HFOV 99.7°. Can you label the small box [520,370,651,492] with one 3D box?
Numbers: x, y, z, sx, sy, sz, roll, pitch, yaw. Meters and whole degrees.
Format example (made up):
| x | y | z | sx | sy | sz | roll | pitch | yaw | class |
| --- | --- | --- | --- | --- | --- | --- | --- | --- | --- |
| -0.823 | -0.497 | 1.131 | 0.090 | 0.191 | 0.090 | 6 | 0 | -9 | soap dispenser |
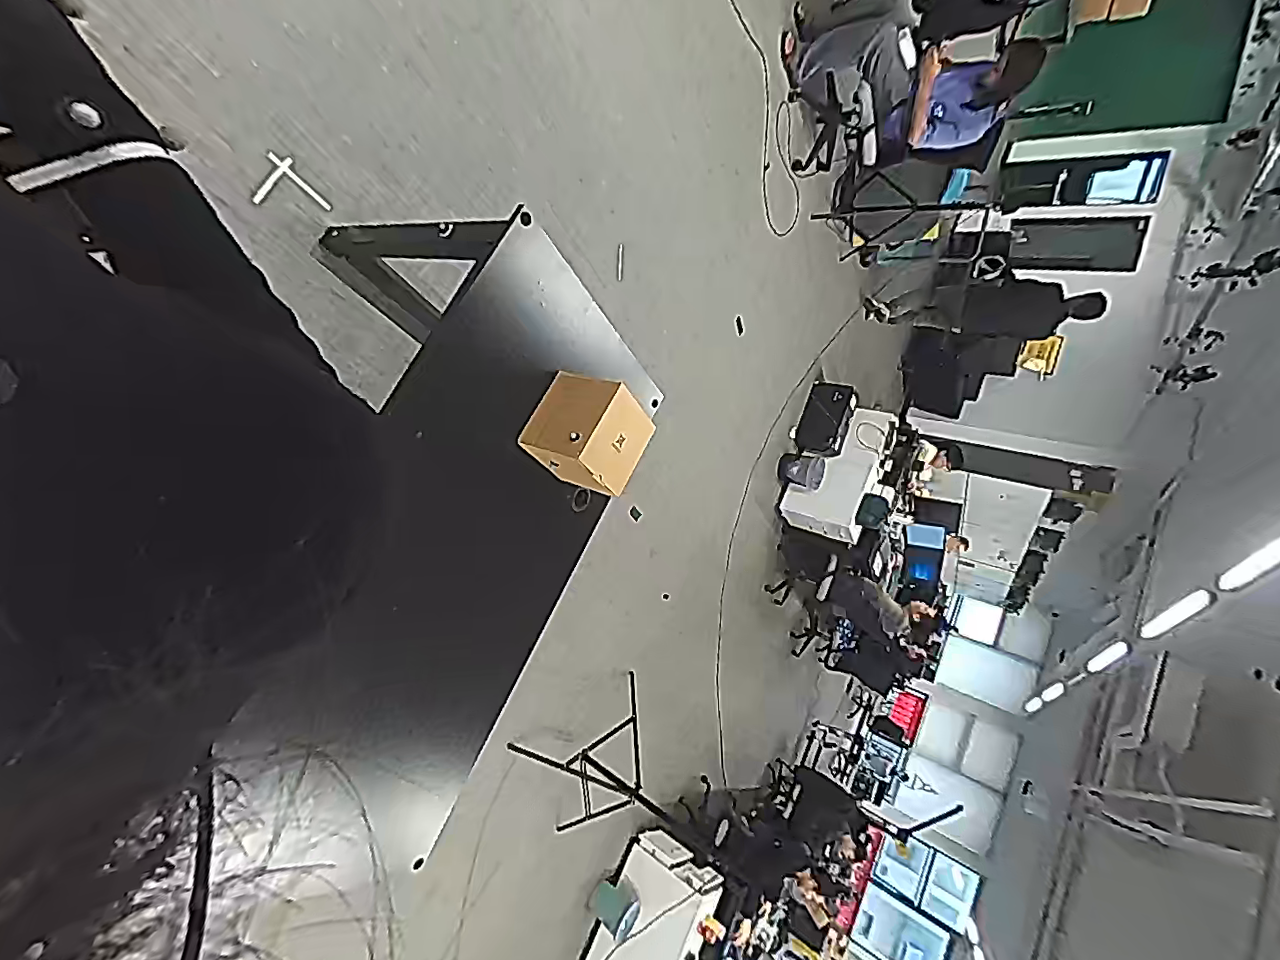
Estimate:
| x | y | z | sx | sy | sz | roll | pitch | yaw | class |
| --- | --- | --- | --- | --- | --- | --- | --- | --- | --- |
| -0.111 | -0.104 | 1.099 | 0.179 | 0.176 | 0.168 | -62 | 145 | -14 | small box |
